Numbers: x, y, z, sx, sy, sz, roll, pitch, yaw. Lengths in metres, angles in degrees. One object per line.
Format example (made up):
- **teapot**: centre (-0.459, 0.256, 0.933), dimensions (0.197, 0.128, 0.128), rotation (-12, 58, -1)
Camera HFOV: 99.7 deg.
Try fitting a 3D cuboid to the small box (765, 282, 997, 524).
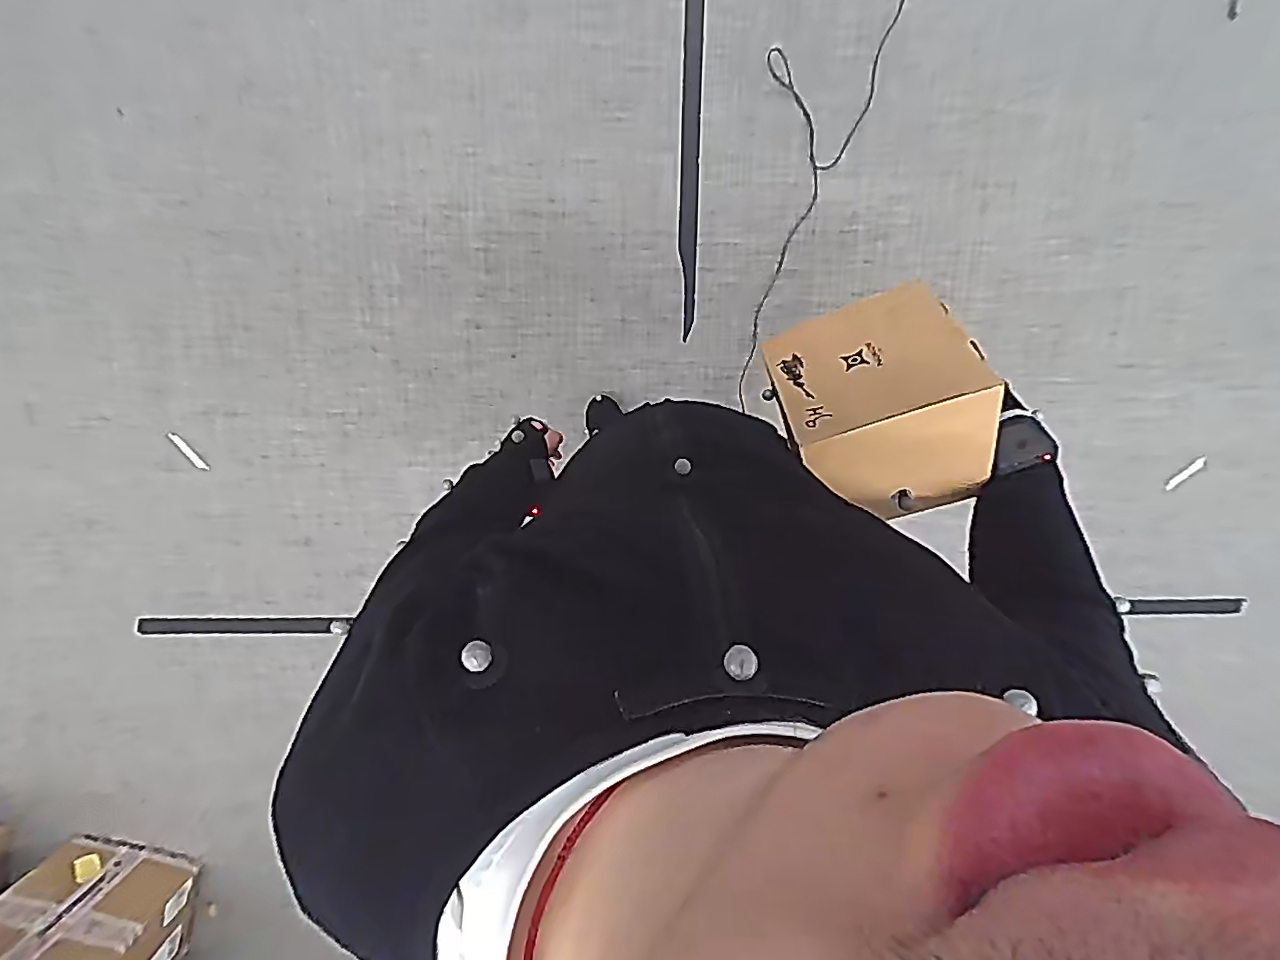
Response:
- **small box**: centre (0.255, -0.077, 0.598), dimensions (0.179, 0.168, 0.176), rotation (-18, 137, 14)
